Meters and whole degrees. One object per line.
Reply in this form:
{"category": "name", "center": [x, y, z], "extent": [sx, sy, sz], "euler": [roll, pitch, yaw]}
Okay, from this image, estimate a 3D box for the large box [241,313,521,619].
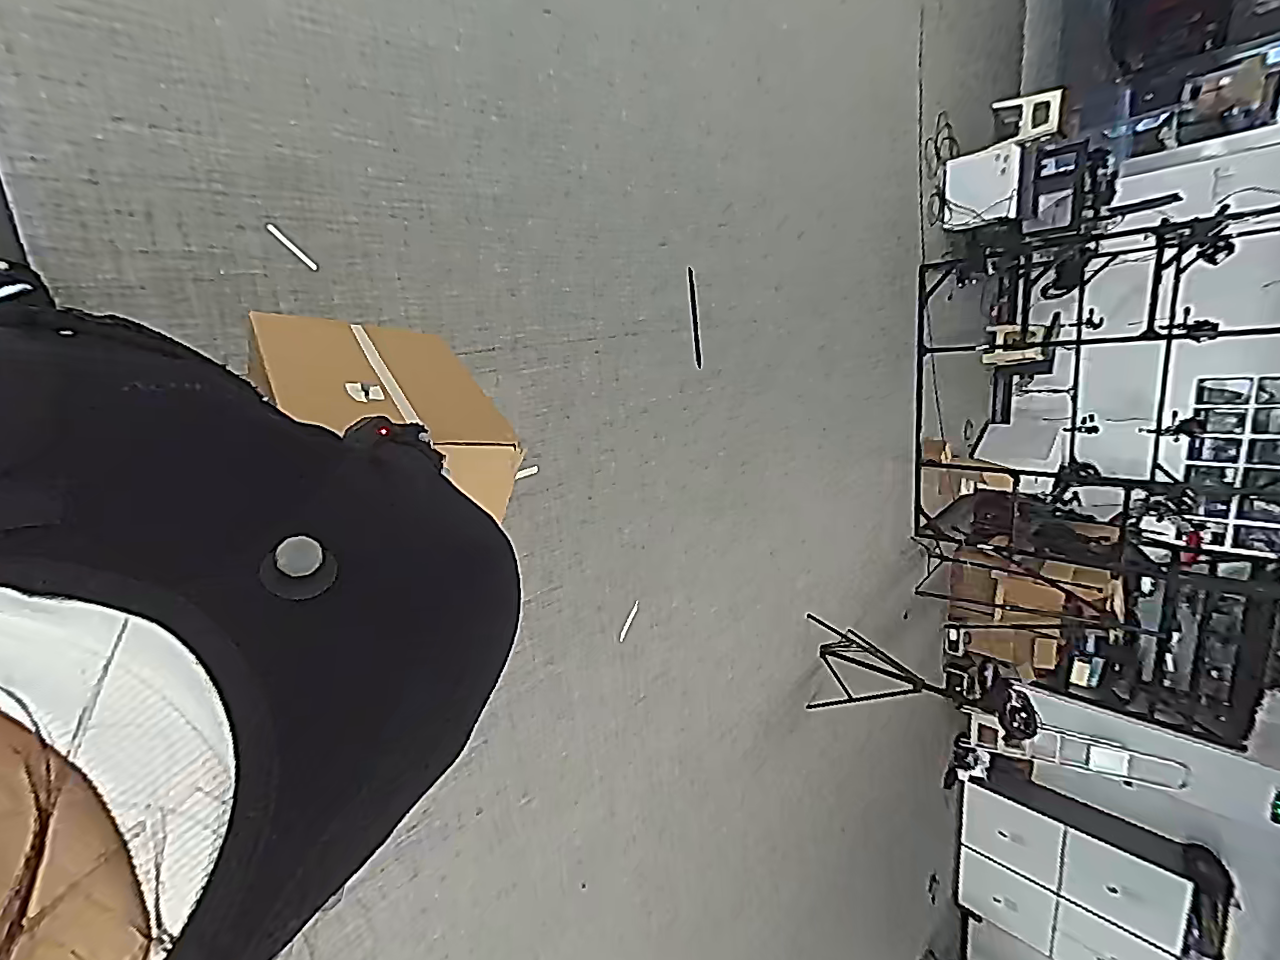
{"category": "large box", "center": [-0.464, -0.036, 0.924], "extent": [0.320, 0.408, 0.320], "euler": [-3, 128, -41]}
